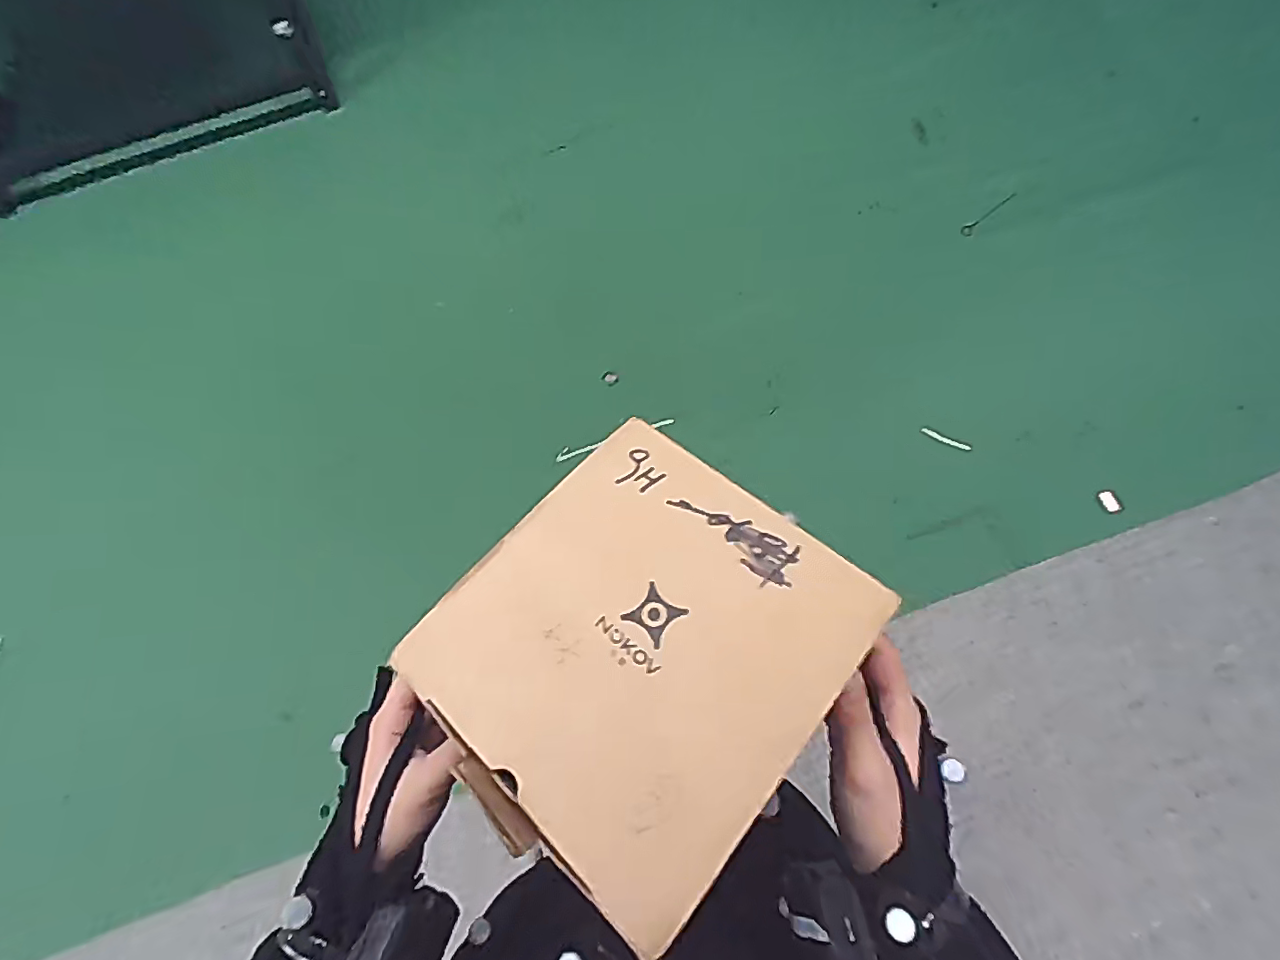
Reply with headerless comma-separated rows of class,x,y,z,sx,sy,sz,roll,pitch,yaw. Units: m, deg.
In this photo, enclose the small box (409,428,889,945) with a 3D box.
small box,0.011,0.110,0.326,0.168,0.176,0.179,36,71,22
